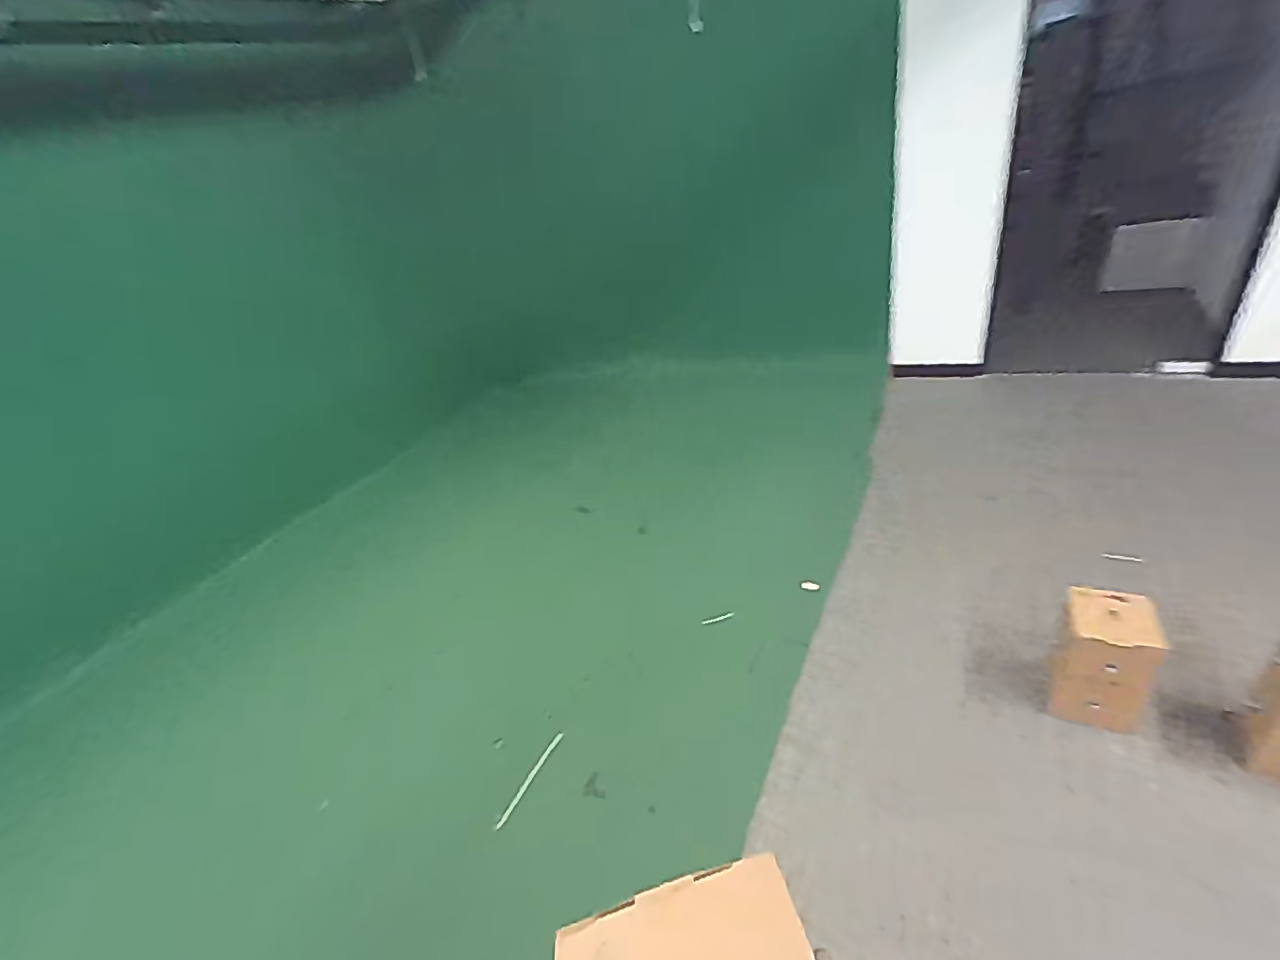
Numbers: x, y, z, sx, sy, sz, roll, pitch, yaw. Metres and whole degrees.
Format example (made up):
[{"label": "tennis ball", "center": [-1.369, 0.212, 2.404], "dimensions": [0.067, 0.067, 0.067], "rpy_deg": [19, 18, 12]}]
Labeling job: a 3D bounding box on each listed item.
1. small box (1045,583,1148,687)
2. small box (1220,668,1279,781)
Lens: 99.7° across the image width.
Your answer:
[{"label": "small box", "center": [1.160, 0.397, 1.386], "dimensions": [0.168, 0.176, 0.179], "rpy_deg": [6, 38, 28]}, {"label": "small box", "center": [1.514, 0.586, 1.272], "dimensions": [0.168, 0.176, 0.179], "rpy_deg": [12, 42, 35]}]
